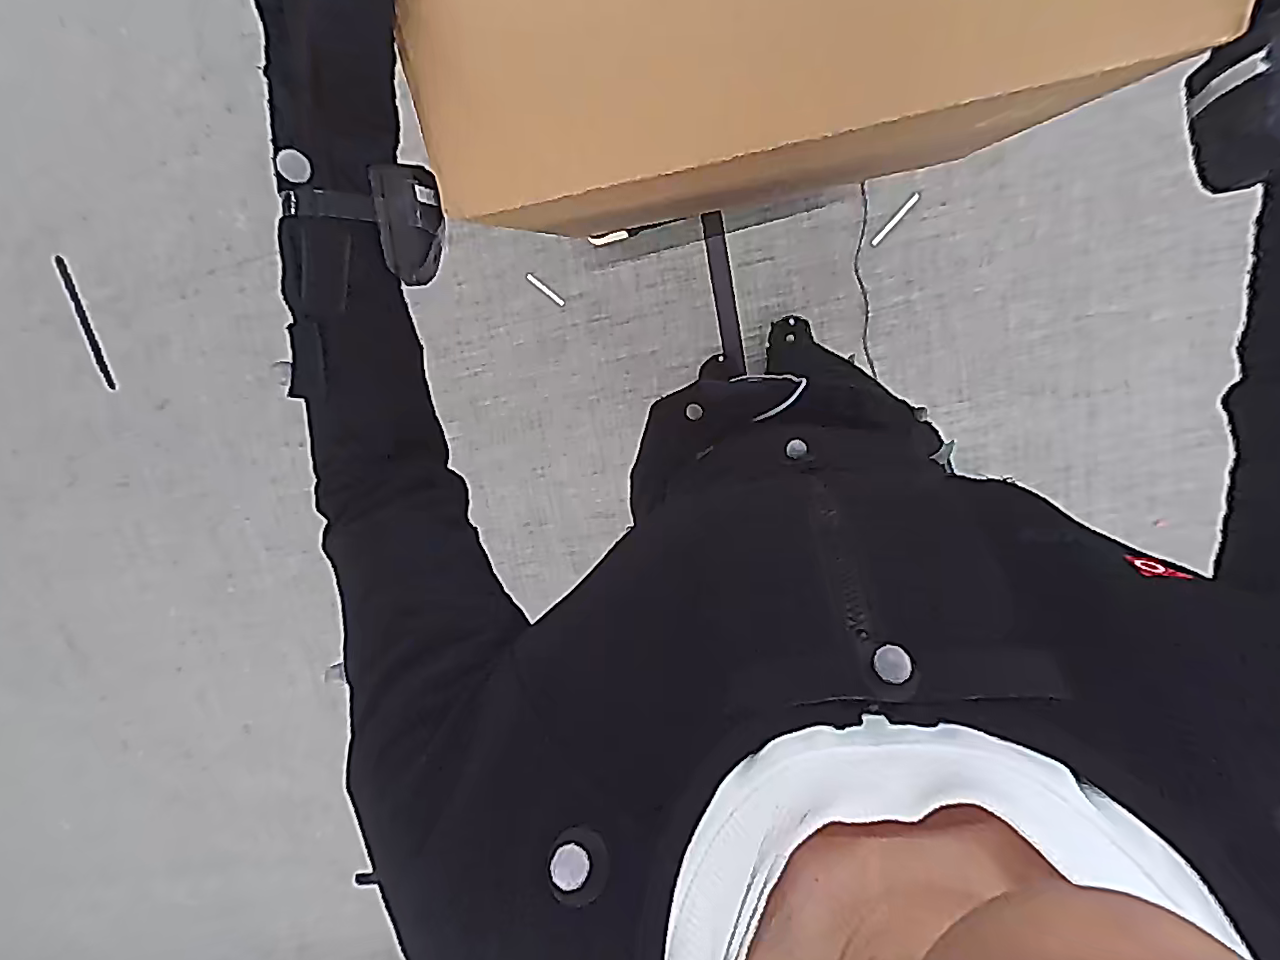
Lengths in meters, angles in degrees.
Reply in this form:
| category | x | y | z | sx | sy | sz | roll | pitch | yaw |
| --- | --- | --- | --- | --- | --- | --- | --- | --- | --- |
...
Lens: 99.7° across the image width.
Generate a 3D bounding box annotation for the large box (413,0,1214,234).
| category | x | y | z | sx | sy | sz | roll | pitch | yaw |
| --- | --- | --- | --- | --- | --- | --- | --- | --- | --- |
| large box | 0.074 | -0.390 | 0.385 | 0.408 | 0.320 | 0.320 | -8 | 111 | 10 |
